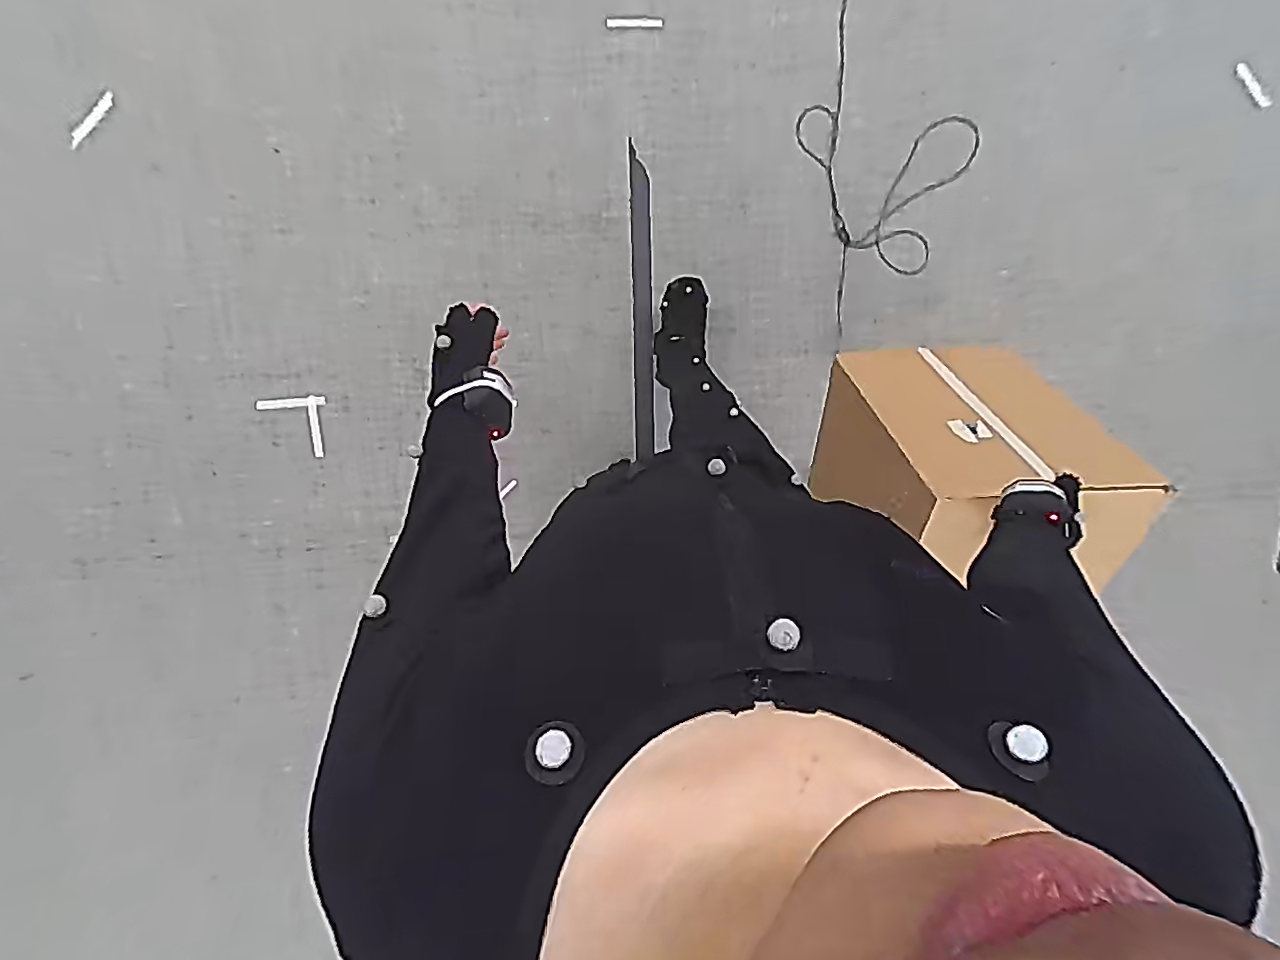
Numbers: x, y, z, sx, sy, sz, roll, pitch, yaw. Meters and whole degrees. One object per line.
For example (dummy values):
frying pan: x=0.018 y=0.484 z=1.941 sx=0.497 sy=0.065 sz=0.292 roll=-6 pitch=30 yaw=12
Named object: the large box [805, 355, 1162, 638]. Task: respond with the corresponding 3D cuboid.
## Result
large box: x=0.522 y=0.014 z=0.946 sx=0.320 sy=0.408 sz=0.320 roll=-3 pitch=130 yaw=-2
